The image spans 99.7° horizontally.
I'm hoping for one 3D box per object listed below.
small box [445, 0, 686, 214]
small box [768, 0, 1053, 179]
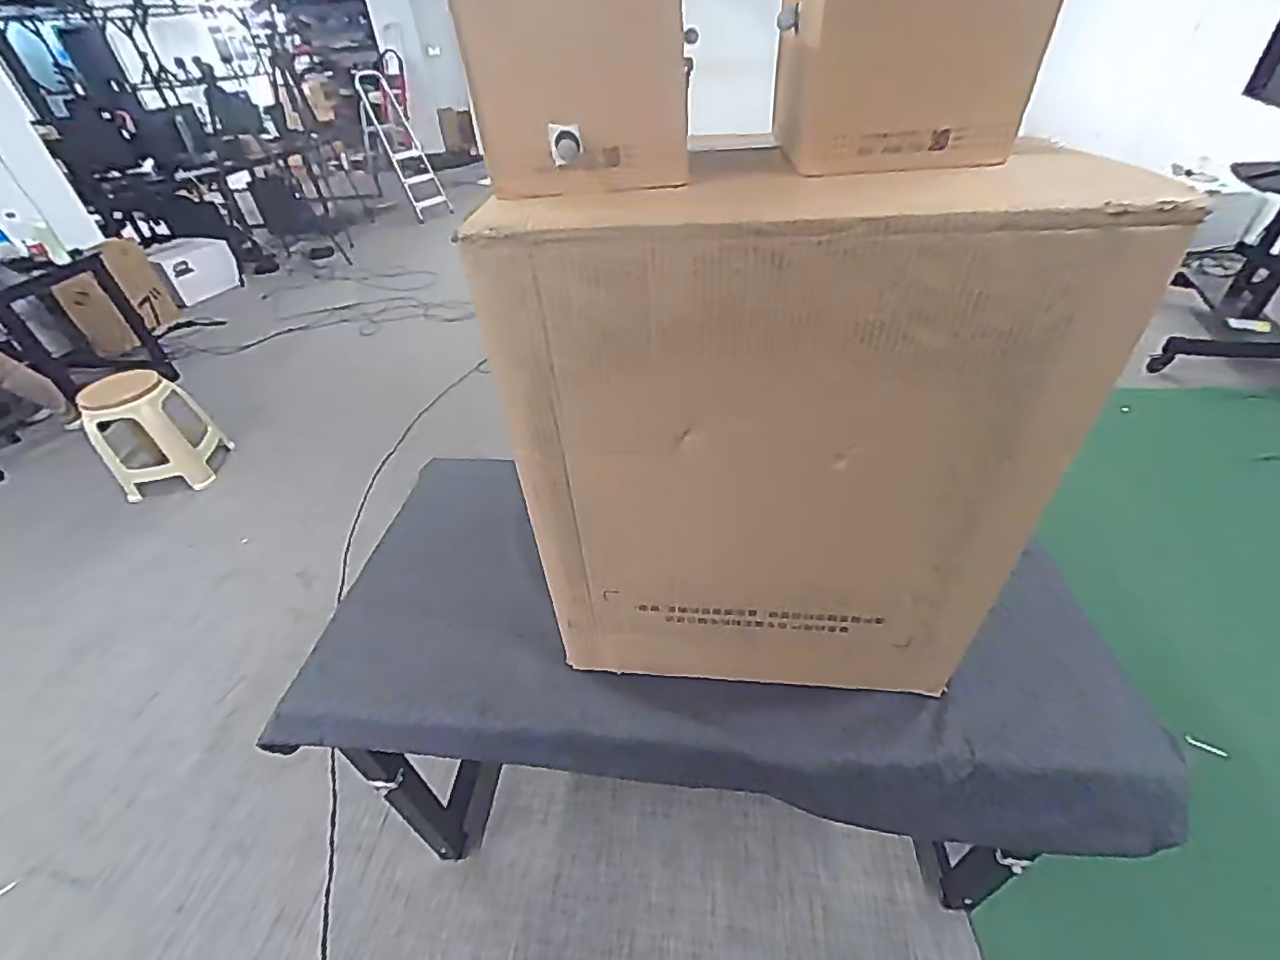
[{"bbox_3d":[-0.049,-0.346,0.466,0.168,0.176,0.179,-4,43,6],"label":"small box"},{"bbox_3d":[0.205,-0.364,0.450,0.168,0.176,0.179,-3,41,4],"label":"small box"}]
